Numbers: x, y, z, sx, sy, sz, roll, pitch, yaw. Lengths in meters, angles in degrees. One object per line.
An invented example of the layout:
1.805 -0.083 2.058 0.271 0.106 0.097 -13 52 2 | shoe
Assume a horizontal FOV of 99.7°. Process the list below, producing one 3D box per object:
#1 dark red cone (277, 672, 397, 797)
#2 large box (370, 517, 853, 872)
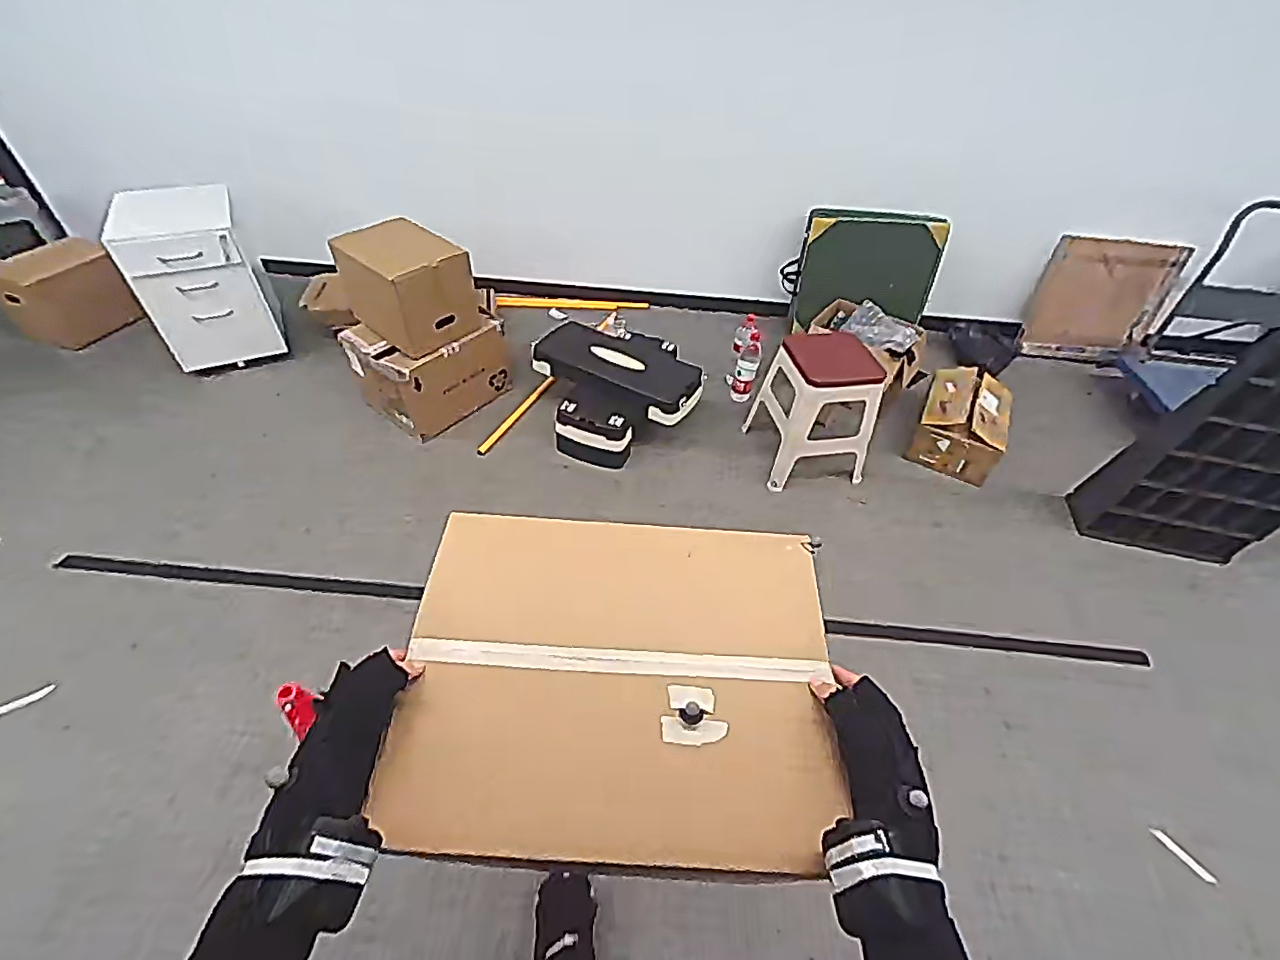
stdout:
-0.712 0.534 1.200 0.201 0.394 0.202 11 46 5 | dark red cone
-0.026 0.265 0.644 0.408 0.320 0.320 4 53 -1 | large box
